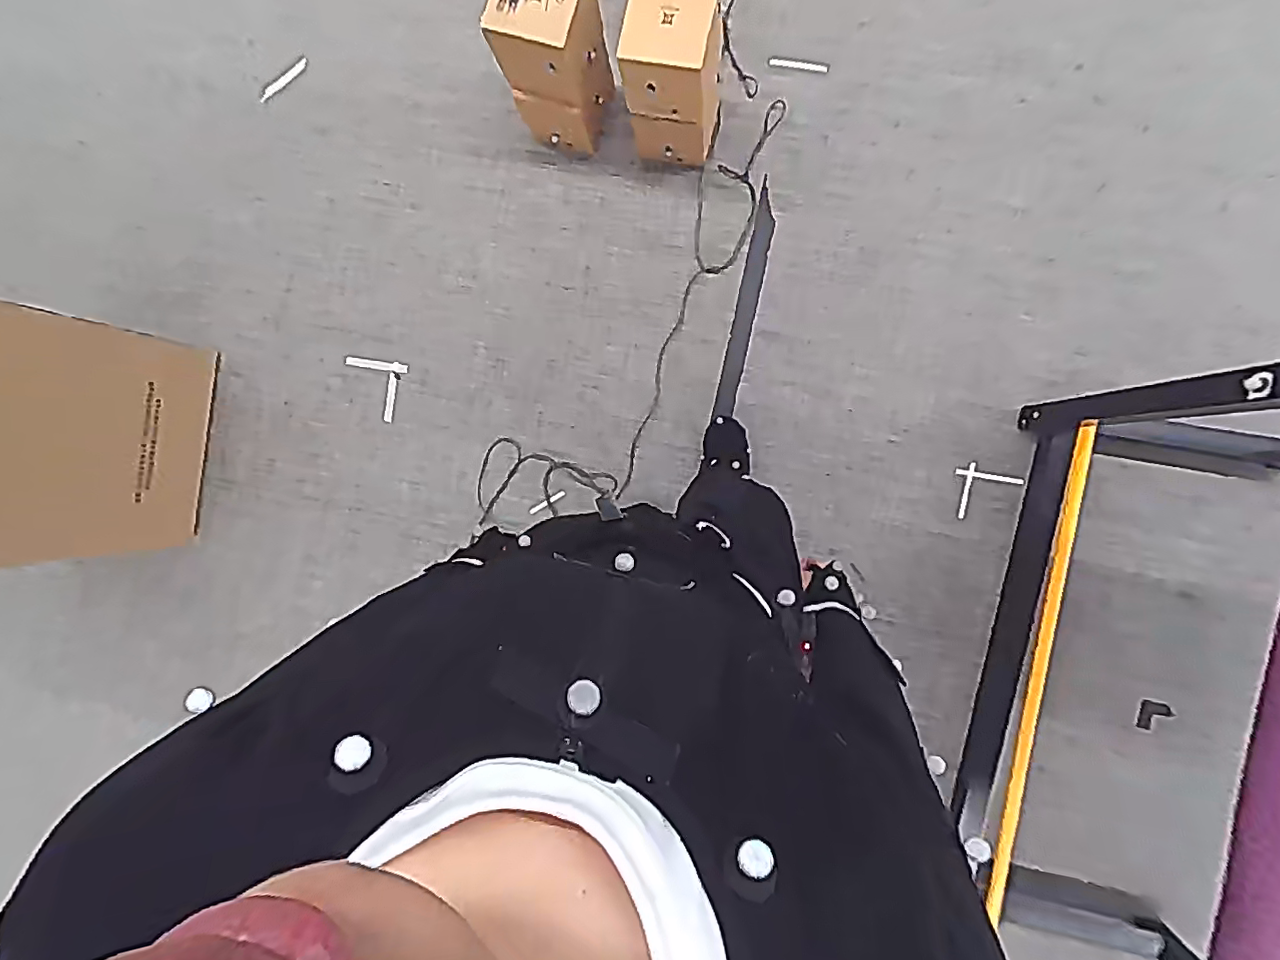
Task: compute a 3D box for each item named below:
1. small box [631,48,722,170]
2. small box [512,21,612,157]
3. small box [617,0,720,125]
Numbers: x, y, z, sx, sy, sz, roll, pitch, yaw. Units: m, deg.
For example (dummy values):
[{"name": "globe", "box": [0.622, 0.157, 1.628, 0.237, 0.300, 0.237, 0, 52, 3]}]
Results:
[{"name": "small box", "box": [0.086, -0.851, 1.235, 0.168, 0.176, 0.179, 14, 93, 7]}, {"name": "small box", "box": [-0.172, -0.903, 1.263, 0.168, 0.176, 0.179, 19, 94, 6]}, {"name": "small box", "box": [0.064, -0.848, 1.074, 0.168, 0.176, 0.179, 13, 92, 7]}]
